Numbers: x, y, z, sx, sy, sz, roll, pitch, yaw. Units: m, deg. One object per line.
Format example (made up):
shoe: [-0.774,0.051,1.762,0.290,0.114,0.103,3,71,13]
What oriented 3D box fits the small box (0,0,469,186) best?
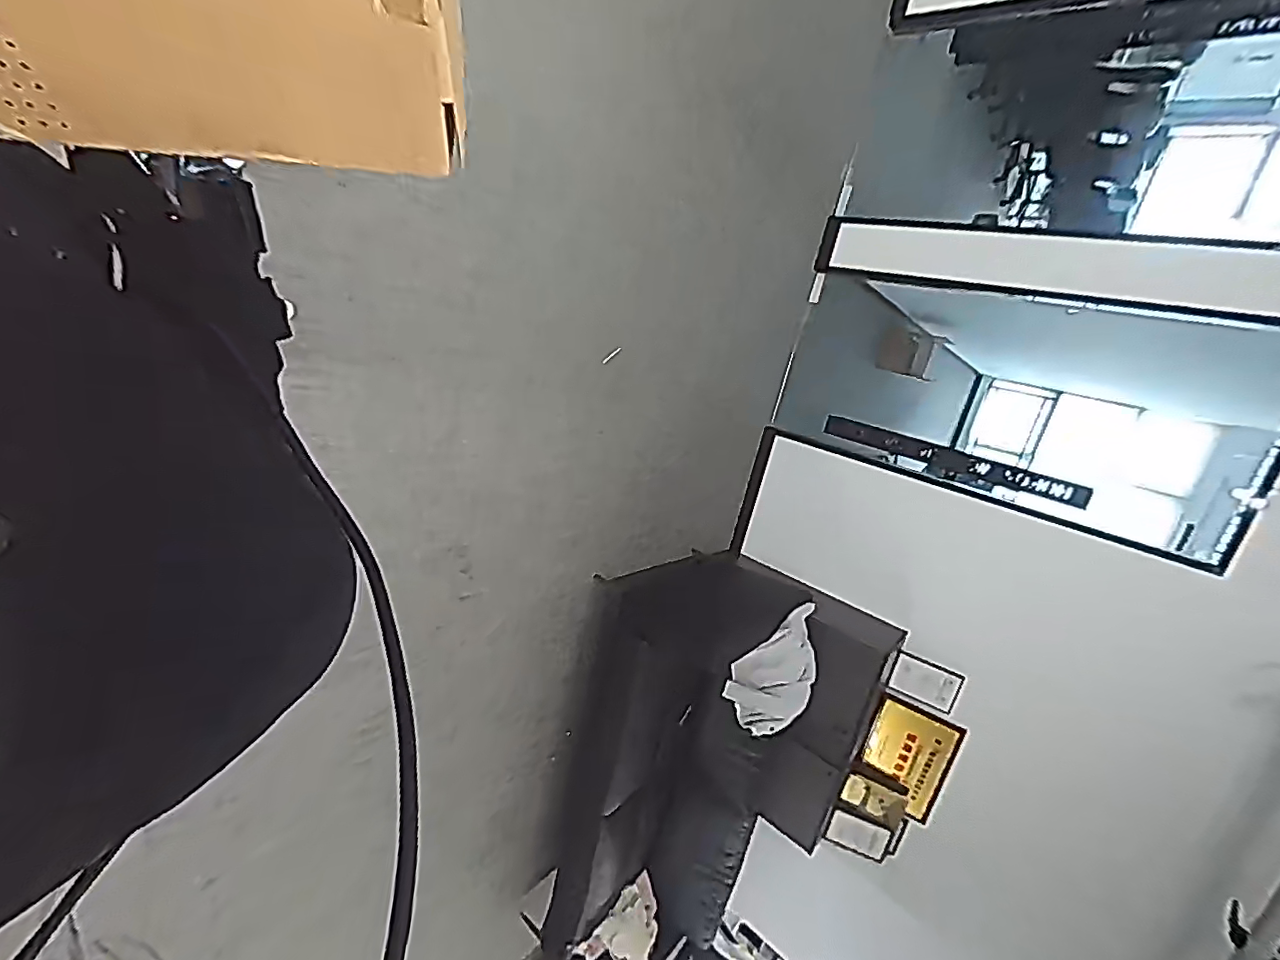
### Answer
small box: [-0.163,-0.241,0.203,0.176,0.179,0.168,-2,148,-13]
